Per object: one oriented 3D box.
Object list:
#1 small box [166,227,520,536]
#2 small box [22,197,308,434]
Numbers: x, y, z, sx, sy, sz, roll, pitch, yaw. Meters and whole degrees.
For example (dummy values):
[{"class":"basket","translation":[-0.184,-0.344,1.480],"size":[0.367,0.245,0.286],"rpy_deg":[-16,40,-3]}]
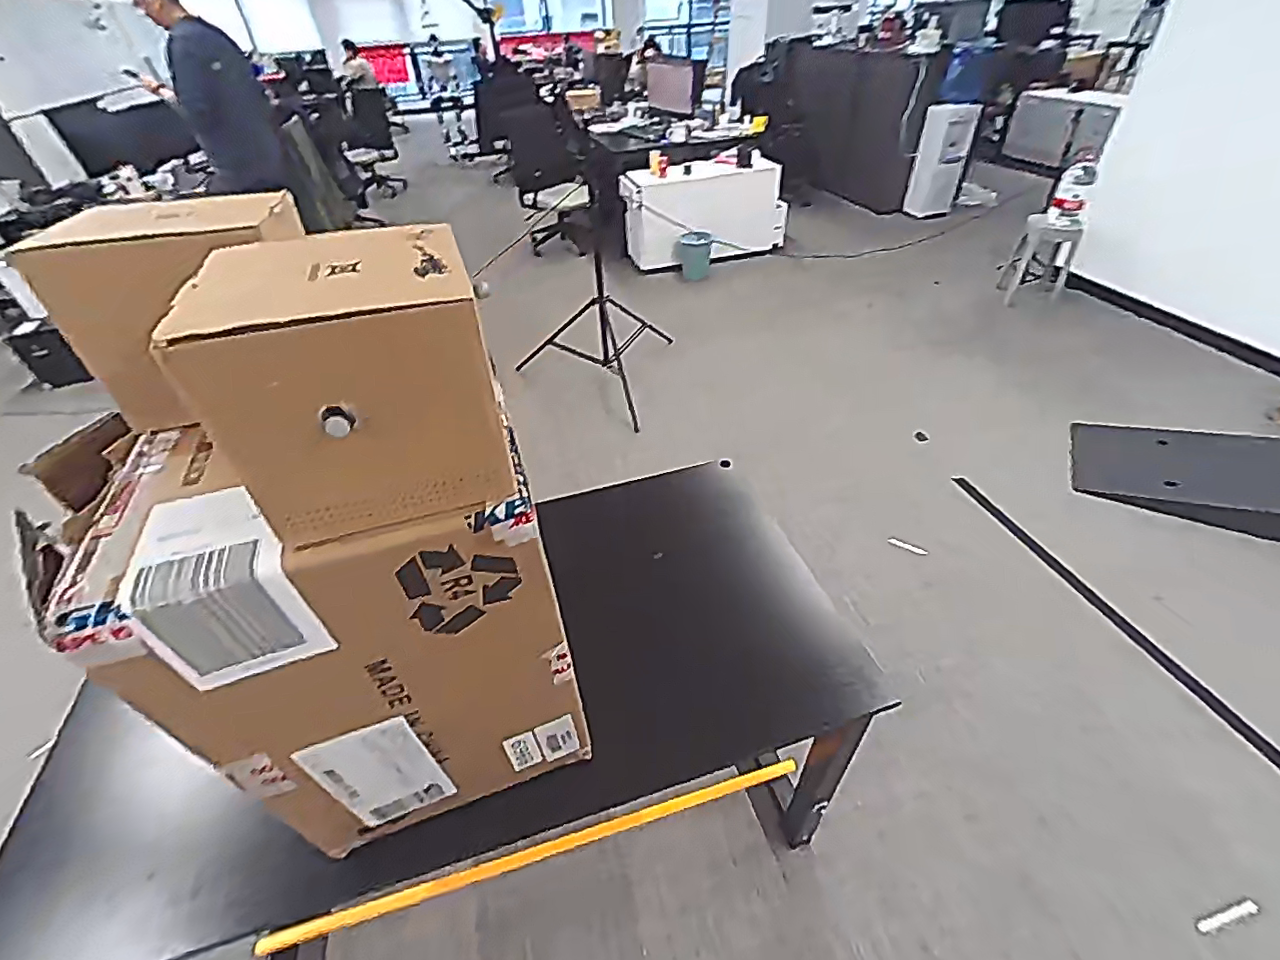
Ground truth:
[{"class":"small box","translation":[-0.209,-0.080,0.431],"size":[0.179,0.176,0.168],"rpy_deg":[-15,44,-14]},{"class":"small box","translation":[-0.418,-0.169,0.544],"size":[0.179,0.176,0.168],"rpy_deg":[-15,39,-14]}]
